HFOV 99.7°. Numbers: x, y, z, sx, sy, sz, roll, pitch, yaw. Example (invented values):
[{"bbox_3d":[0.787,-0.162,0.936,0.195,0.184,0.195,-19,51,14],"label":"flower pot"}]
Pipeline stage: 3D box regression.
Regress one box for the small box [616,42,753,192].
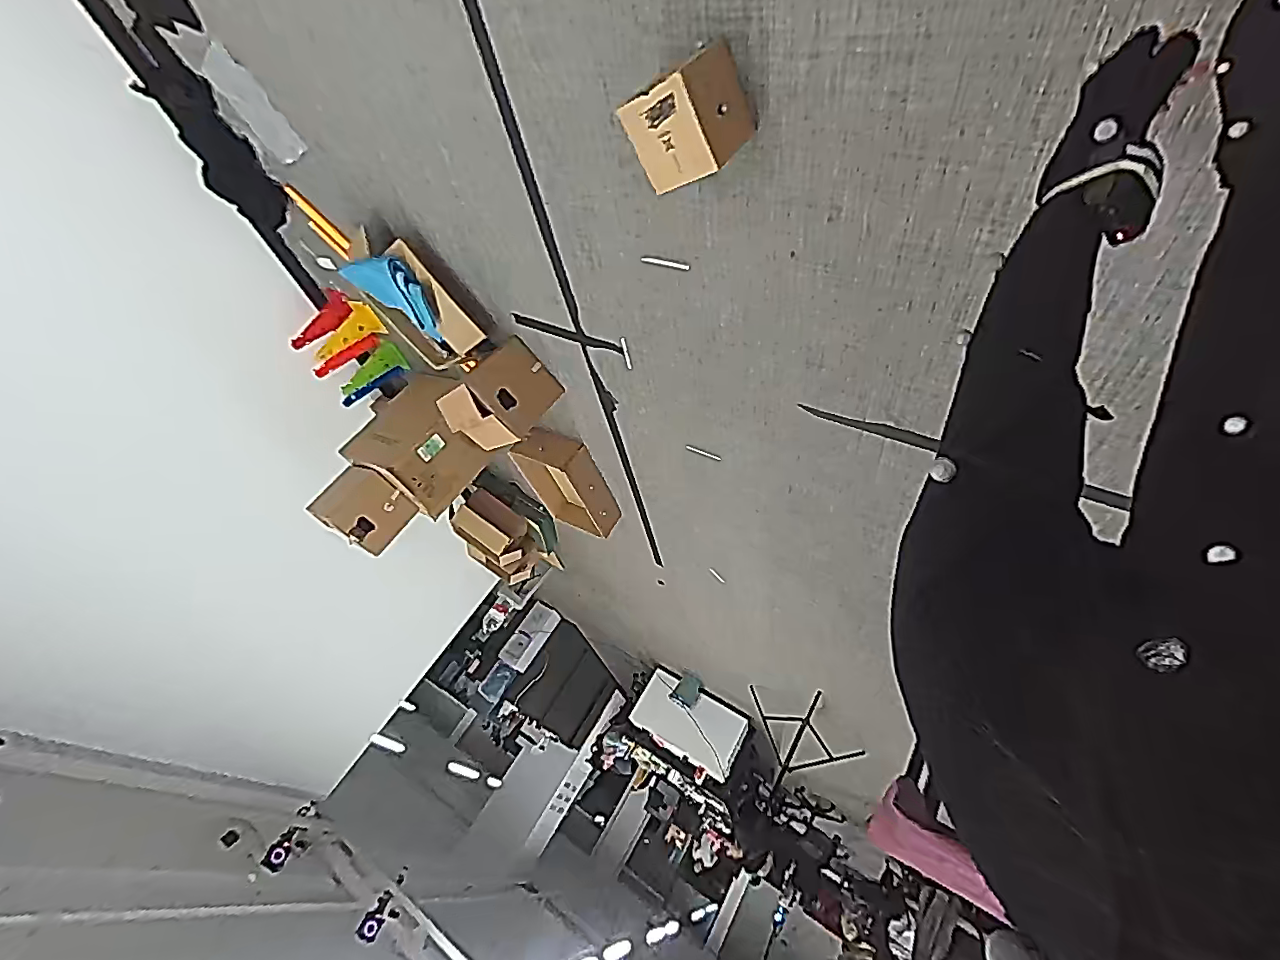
[{"bbox_3d":[0.092,-0.709,1.055,0.168,0.176,0.179,7,144,46],"label":"small box"}]
